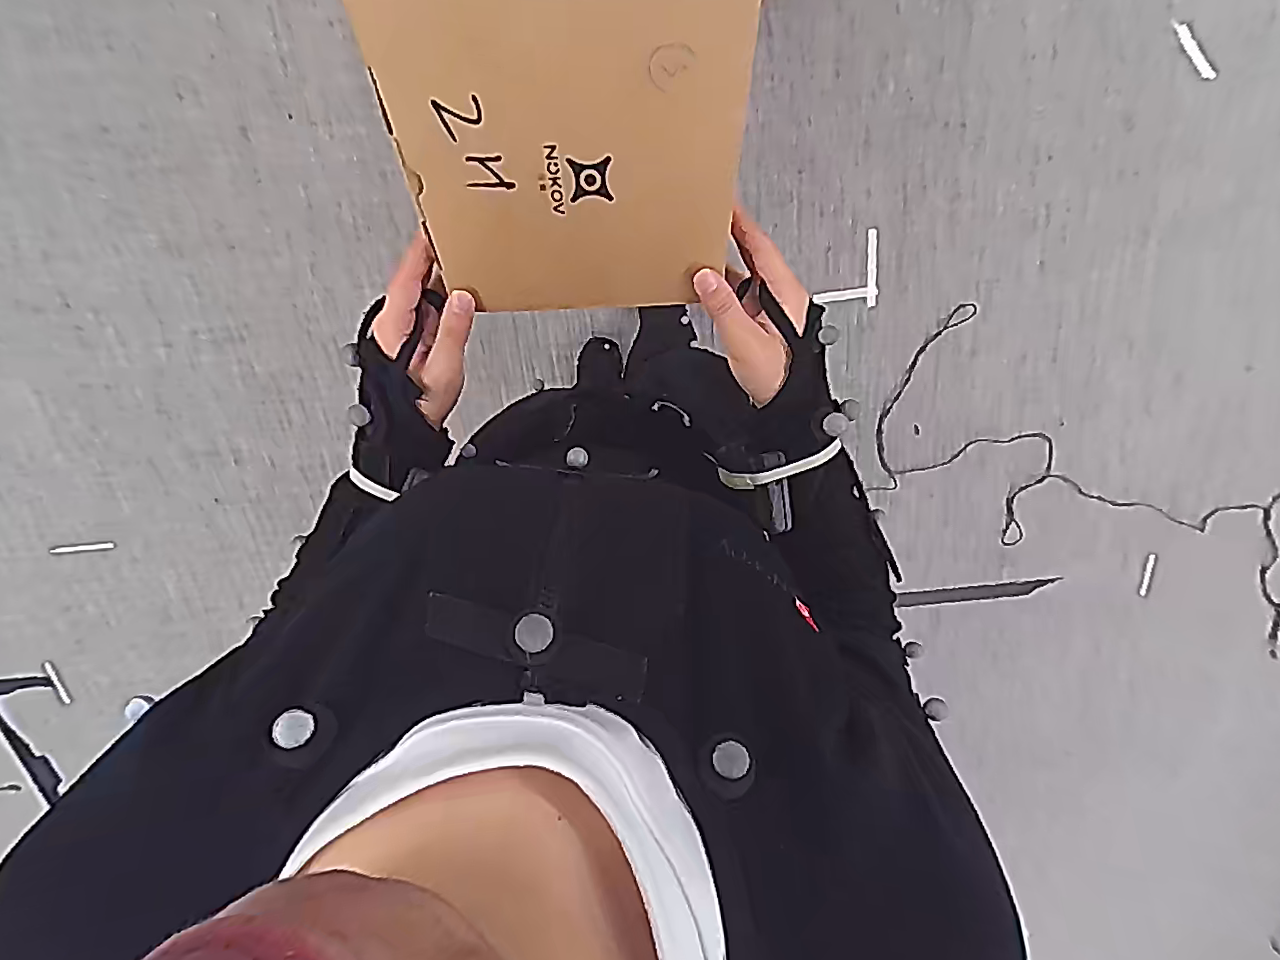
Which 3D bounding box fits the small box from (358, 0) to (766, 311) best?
[{"bbox_3d":[-0.037,-0.227,0.335,0.179,0.176,0.168,-3,145,-1],"label":"small box"}]
